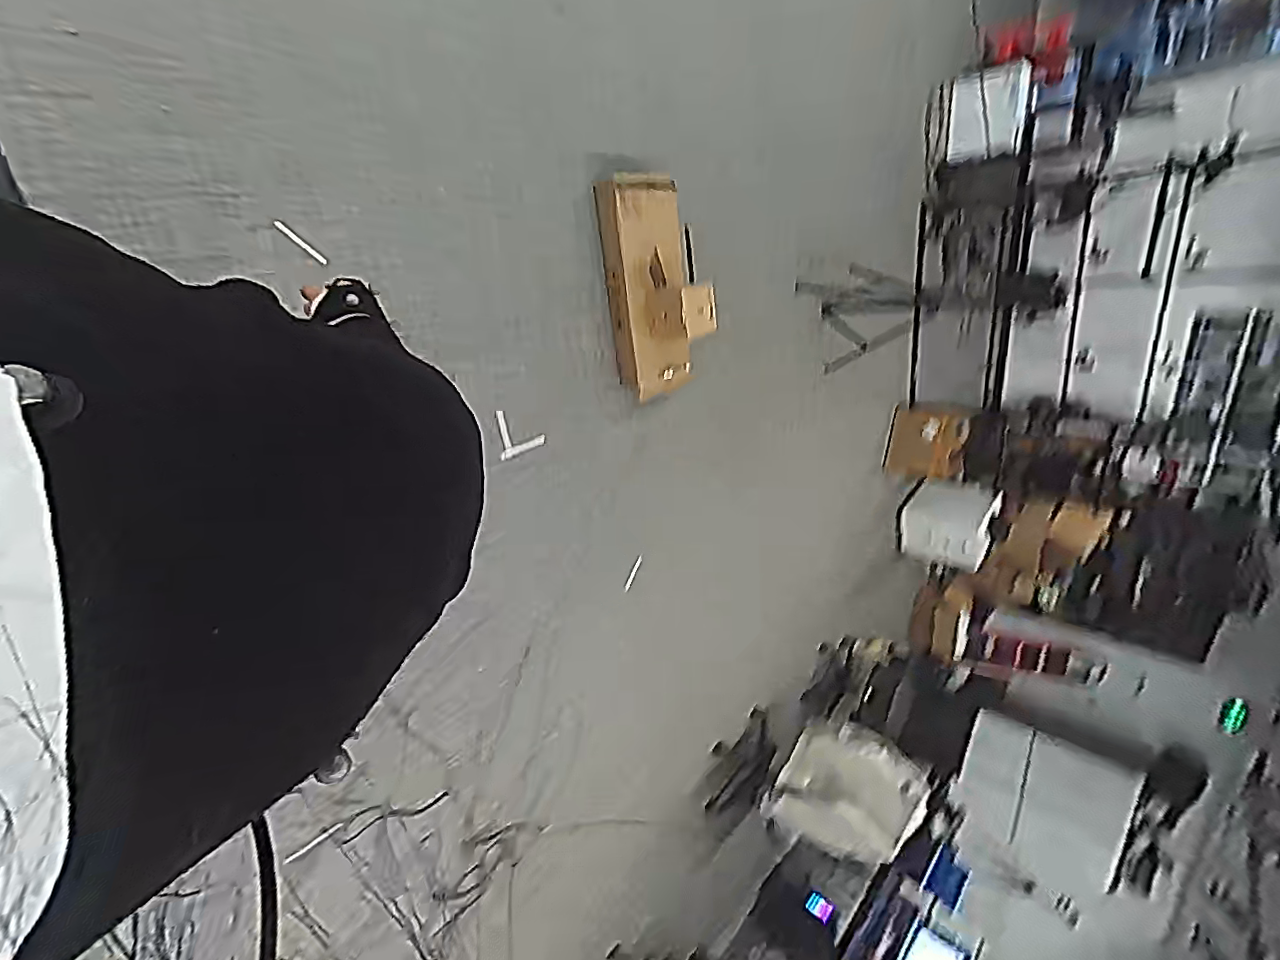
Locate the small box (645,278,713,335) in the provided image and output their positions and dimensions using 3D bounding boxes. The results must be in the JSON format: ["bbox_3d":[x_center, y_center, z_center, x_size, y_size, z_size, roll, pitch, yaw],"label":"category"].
[{"bbox_3d":[0.134,-0.617,1.932,0.179,0.176,0.168,-30,120,-37],"label":"small box"}]
